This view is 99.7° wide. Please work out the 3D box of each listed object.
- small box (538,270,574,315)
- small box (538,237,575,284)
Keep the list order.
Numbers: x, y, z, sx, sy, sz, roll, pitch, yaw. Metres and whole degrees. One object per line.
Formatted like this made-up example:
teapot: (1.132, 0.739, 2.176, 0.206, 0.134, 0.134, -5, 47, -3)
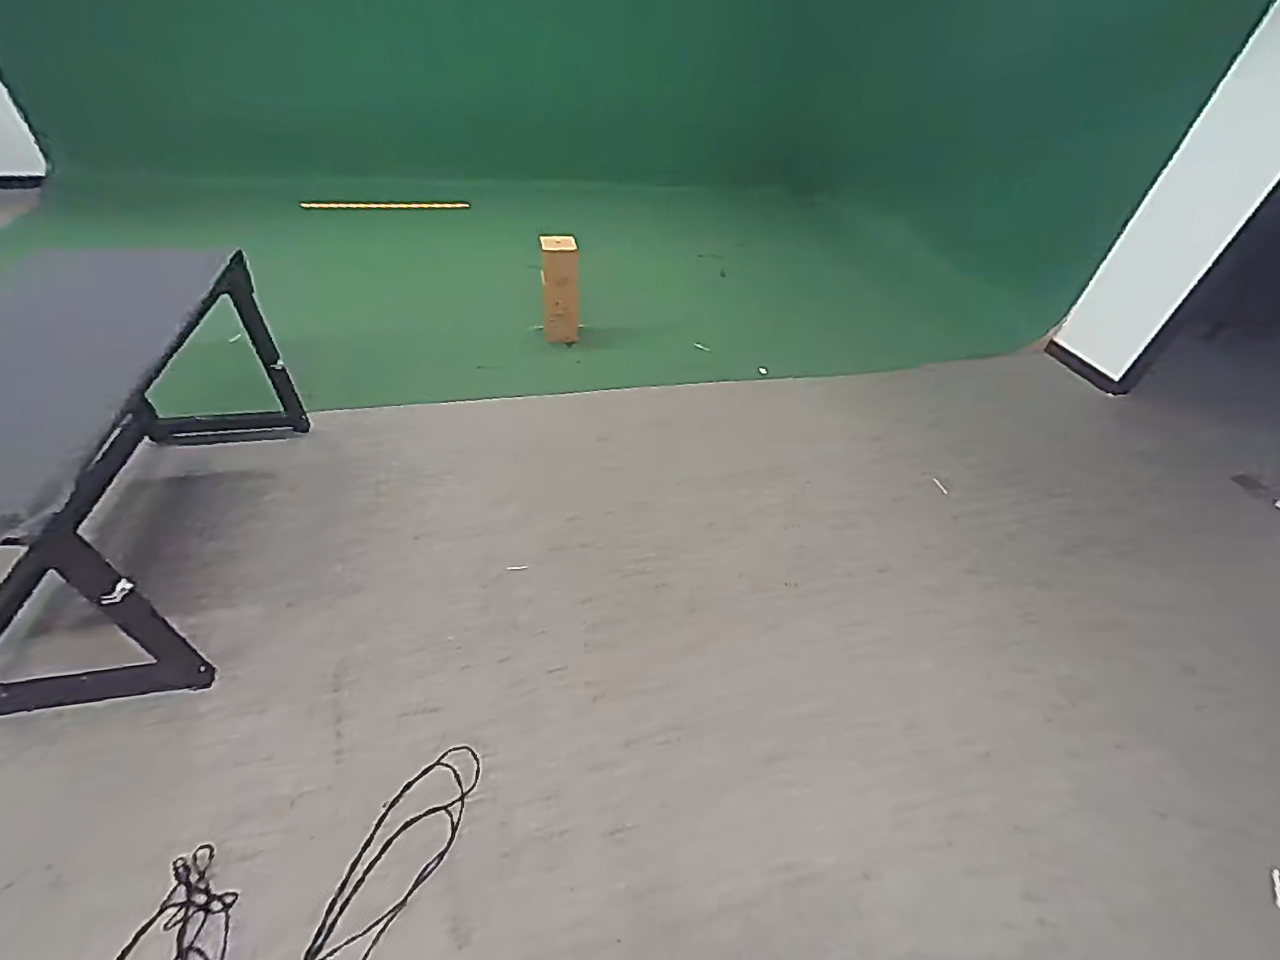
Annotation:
small box: (-0.441, -0.975, 2.812, 0.168, 0.176, 0.179, -6, 44, -14)
small box: (-0.420, -1.099, 2.705, 0.168, 0.176, 0.179, -5, 44, -12)
